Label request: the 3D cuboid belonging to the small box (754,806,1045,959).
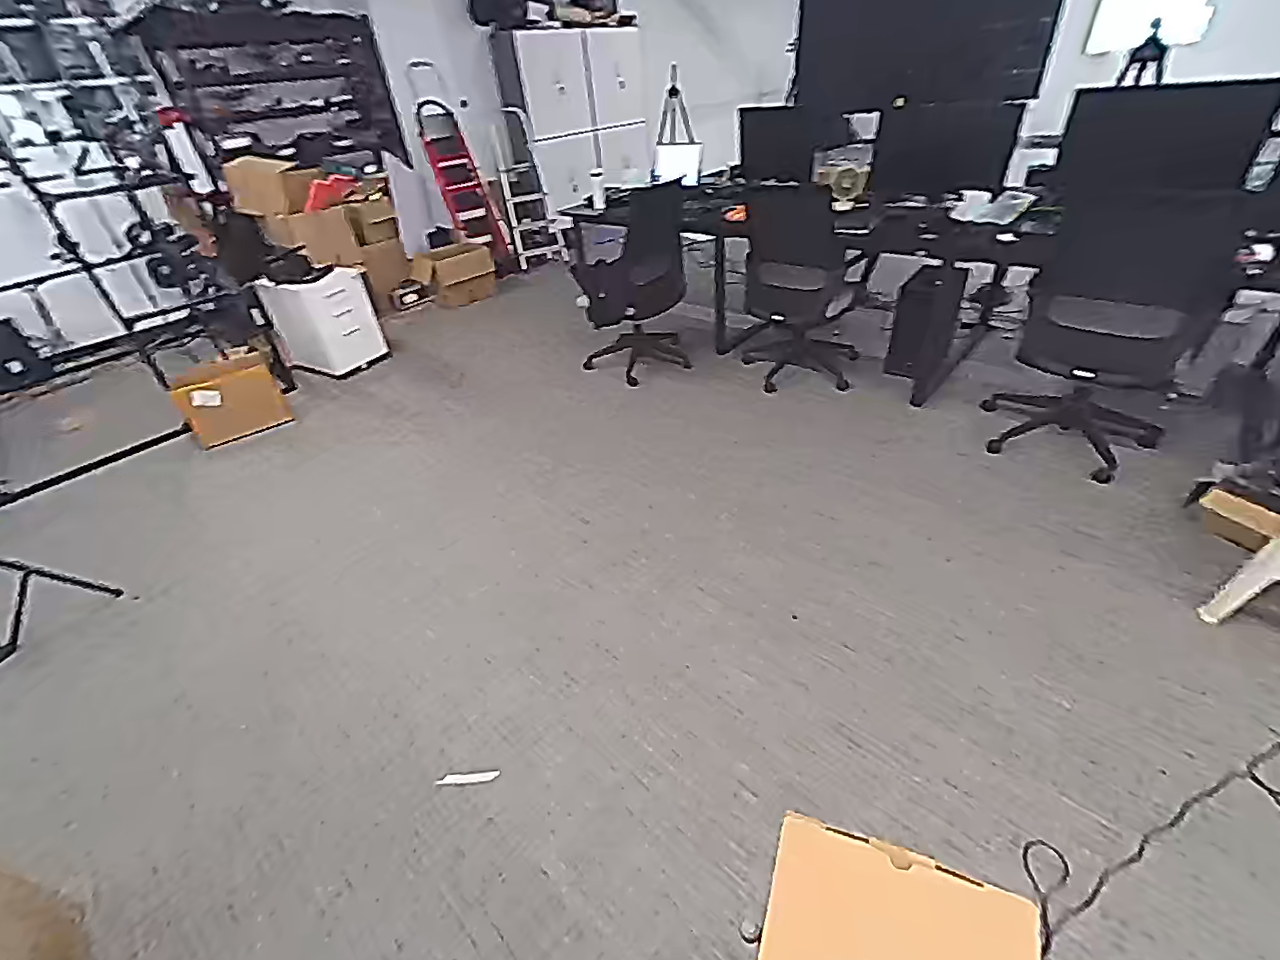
[{"bbox_3d":[0.168,0.374,0.386,0.168,0.176,0.179,9,51,21],"label":"small box"}]
